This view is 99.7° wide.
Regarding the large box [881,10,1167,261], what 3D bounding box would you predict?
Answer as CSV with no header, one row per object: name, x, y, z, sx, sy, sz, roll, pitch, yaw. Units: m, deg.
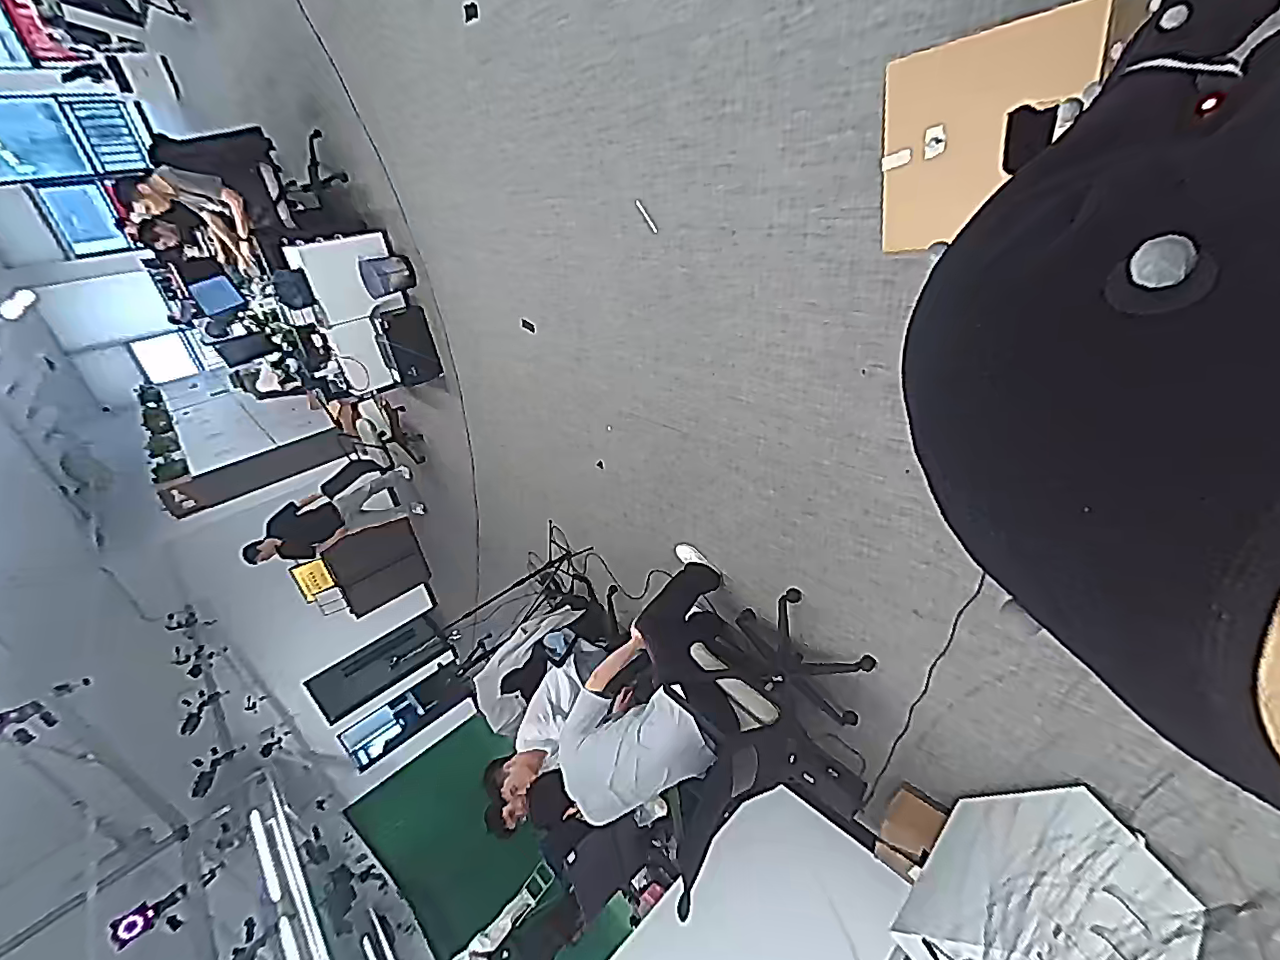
large box,0.693,-0.620,1.004,0.320,0.408,0.320,21,132,46
